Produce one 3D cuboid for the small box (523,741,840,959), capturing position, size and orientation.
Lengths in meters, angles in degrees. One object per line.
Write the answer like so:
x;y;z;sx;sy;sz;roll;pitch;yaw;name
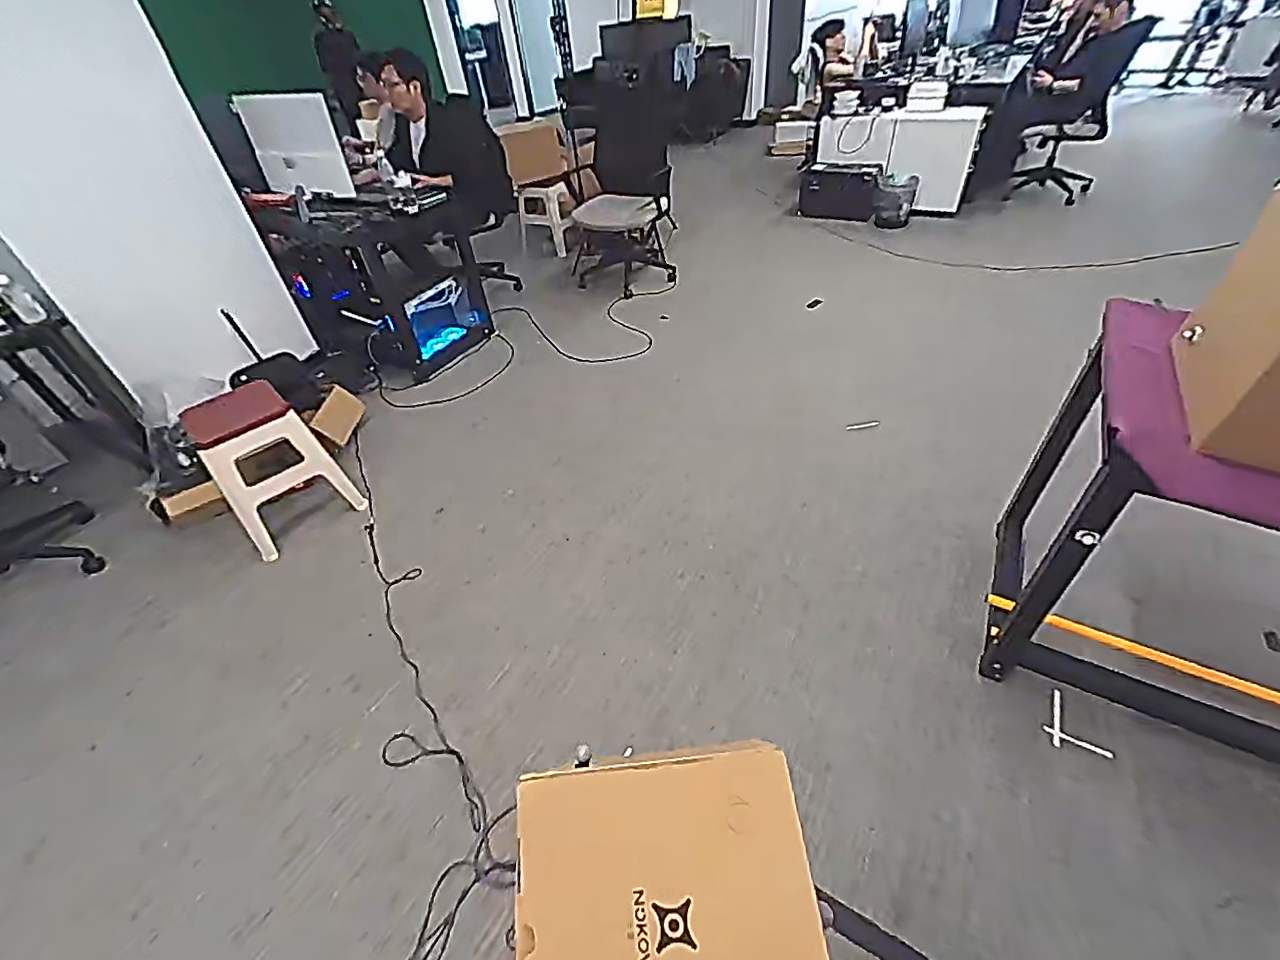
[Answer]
0.030;0.285;0.380;0.179;0.176;0.168;-10;64;4;small box
